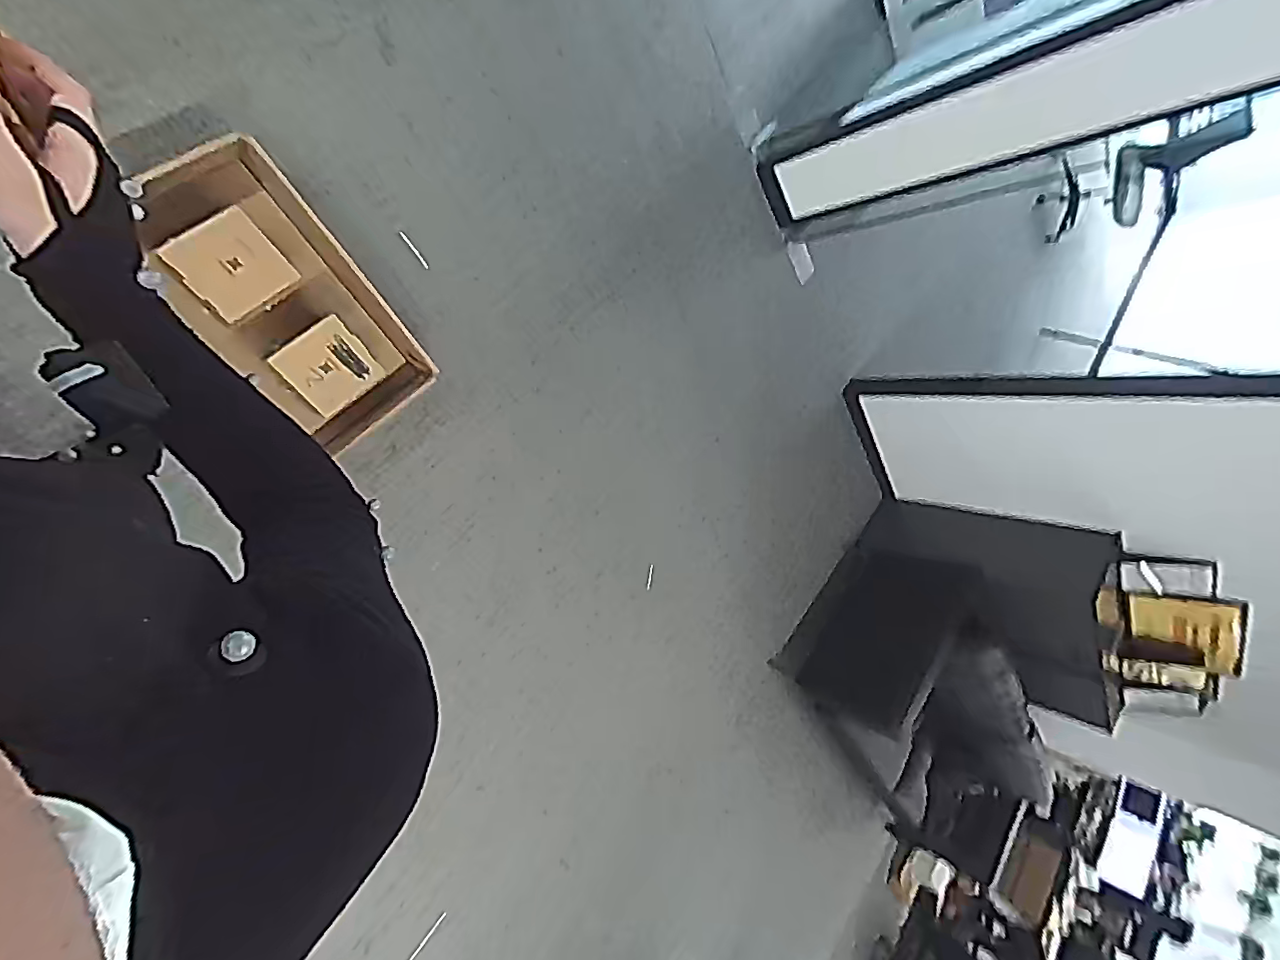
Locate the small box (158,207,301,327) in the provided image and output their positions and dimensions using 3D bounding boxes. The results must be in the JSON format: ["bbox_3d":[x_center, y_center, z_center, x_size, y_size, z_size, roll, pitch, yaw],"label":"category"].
[{"bbox_3d":[-0.868,-0.444,1.152,0.179,0.176,0.168,-48,125,-22],"label":"small box"}]
